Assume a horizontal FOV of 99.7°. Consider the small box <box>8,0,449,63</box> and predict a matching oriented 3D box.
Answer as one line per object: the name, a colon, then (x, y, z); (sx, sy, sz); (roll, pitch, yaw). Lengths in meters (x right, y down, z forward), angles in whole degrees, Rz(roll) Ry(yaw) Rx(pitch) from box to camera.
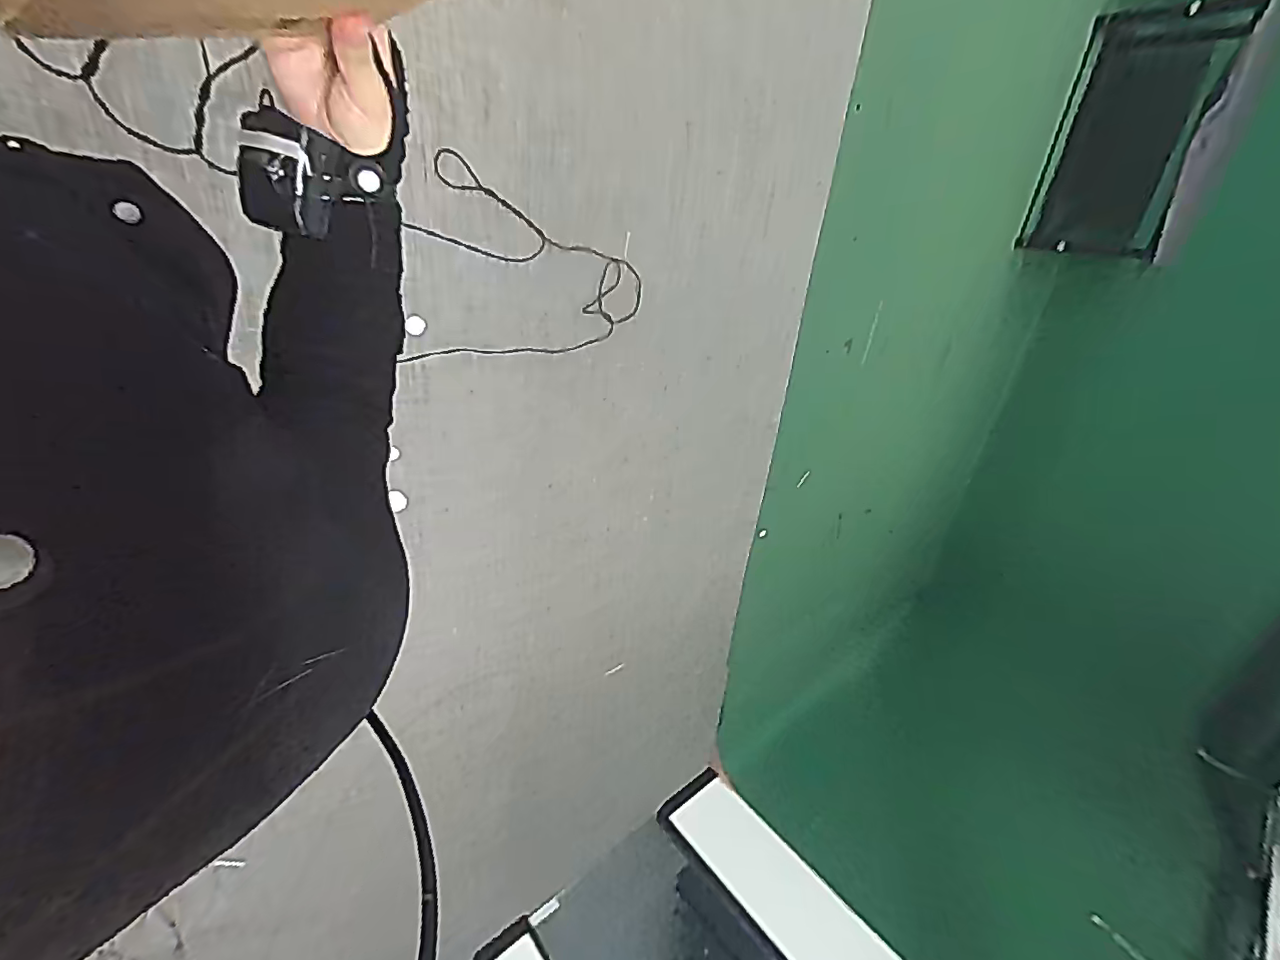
small box: (-0.149, -0.272, 0.177); (0.168, 0.176, 0.179); (-52, 137, -43)
